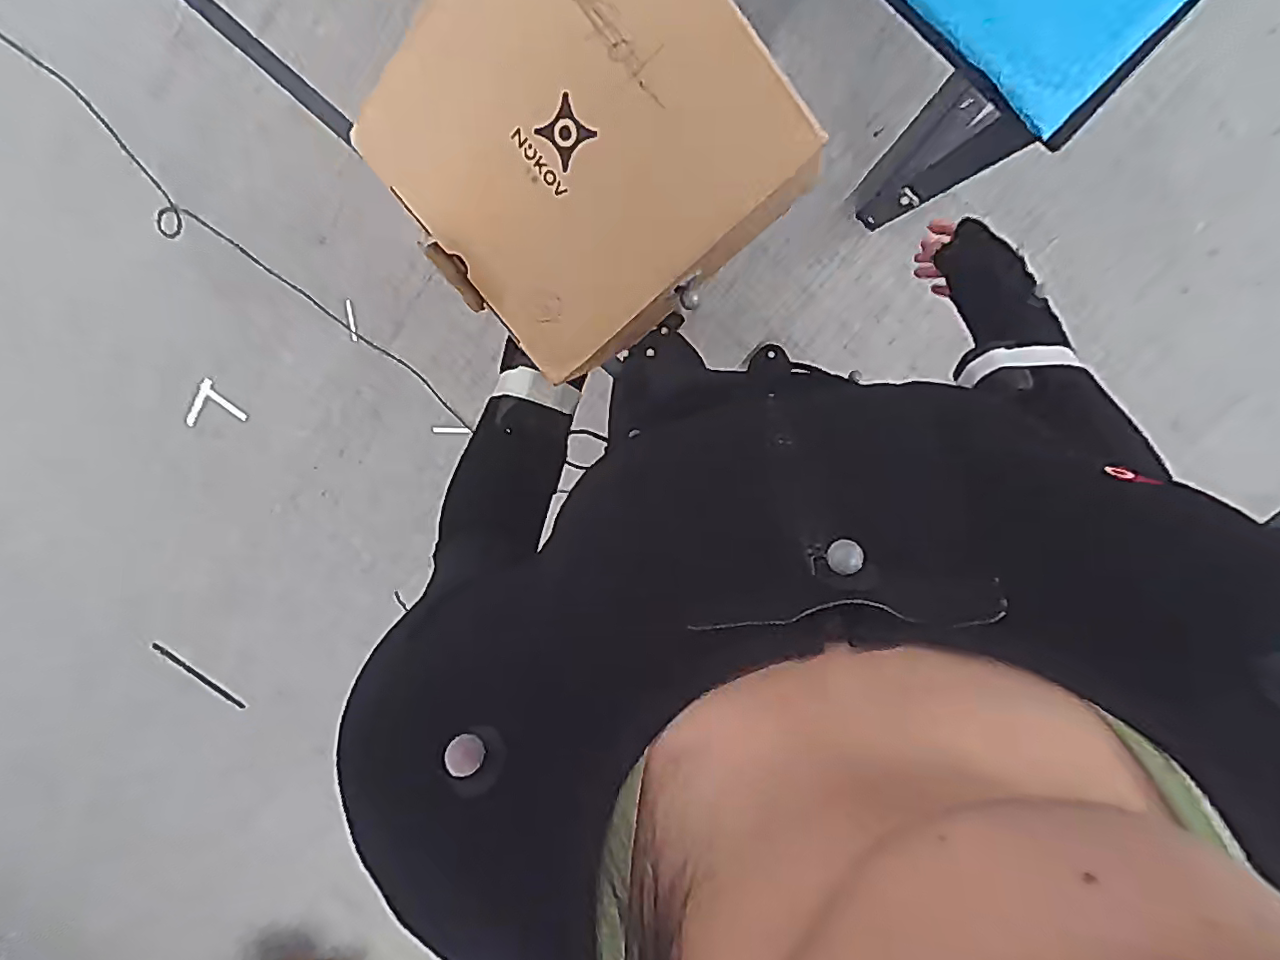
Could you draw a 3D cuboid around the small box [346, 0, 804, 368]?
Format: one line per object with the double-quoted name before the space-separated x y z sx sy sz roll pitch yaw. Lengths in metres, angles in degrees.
"small box" -0.019 -0.195 0.322 0.179 0.176 0.168 -34 99 28
